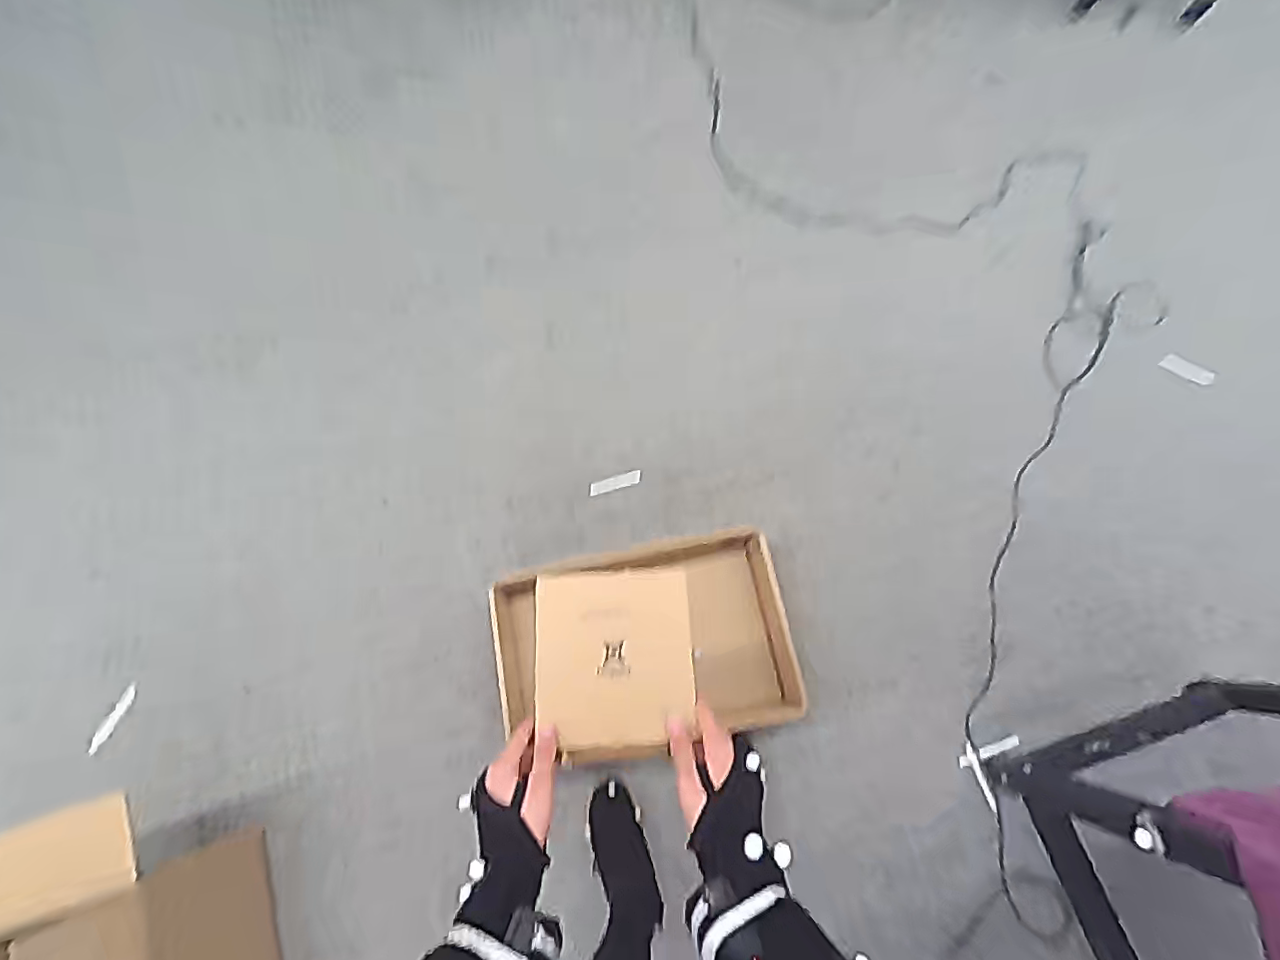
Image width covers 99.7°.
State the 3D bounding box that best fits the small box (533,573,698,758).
[{"bbox_3d":[-0.027,0.207,0.628,0.168,0.176,0.179,-2,73,-2],"label":"small box"}]
